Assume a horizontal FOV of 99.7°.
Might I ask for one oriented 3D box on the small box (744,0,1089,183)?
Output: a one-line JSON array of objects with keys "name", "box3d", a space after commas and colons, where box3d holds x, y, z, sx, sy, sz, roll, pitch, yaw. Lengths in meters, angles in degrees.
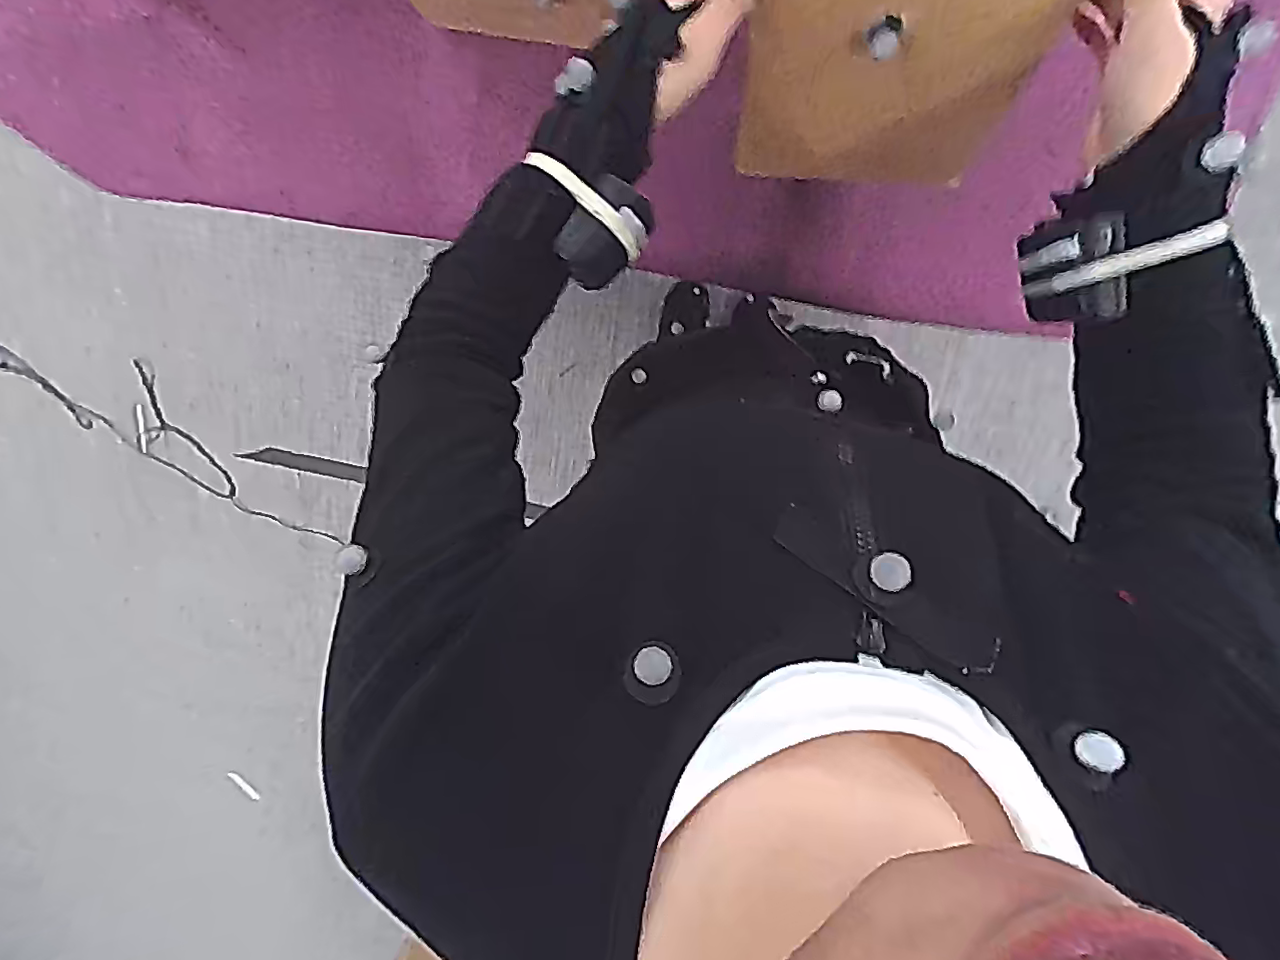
[{"name": "small box", "box3d": [0.175, -0.335, 0.372, 0.179, 0.176, 0.168, 8, 83, 9]}]
